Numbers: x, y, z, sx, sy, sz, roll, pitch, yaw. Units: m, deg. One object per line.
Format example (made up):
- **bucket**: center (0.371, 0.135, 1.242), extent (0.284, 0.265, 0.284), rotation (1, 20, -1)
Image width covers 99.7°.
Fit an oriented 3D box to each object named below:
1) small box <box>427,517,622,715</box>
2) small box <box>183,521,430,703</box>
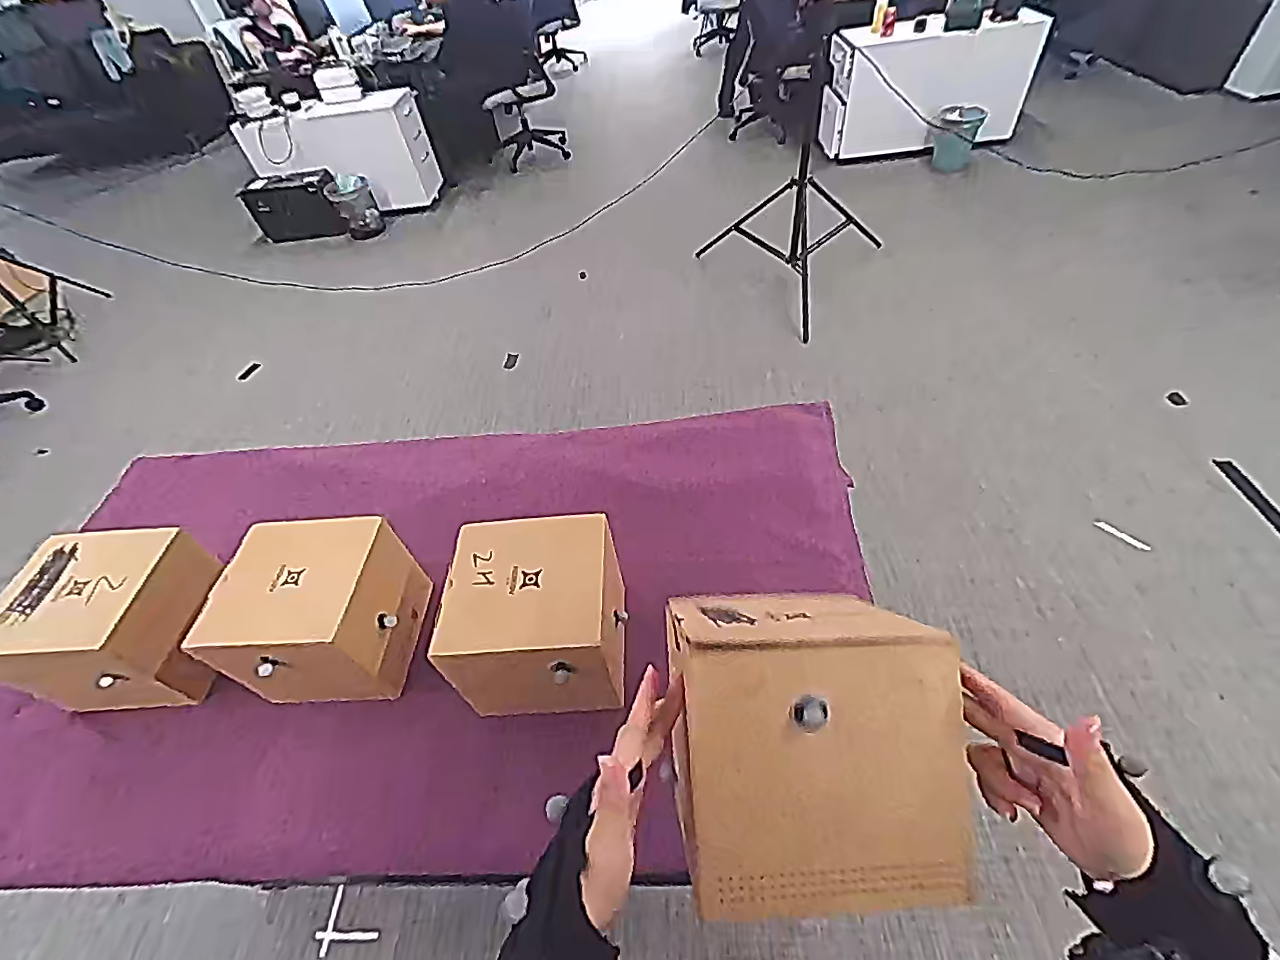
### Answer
- **small box**: center (-0.116, 0.163, 0.636), extent (0.179, 0.176, 0.168), rotation (-5, 47, 5)
- **small box**: center (-0.391, 0.169, 0.678), extent (0.179, 0.176, 0.168), rotation (-4, 48, 6)
